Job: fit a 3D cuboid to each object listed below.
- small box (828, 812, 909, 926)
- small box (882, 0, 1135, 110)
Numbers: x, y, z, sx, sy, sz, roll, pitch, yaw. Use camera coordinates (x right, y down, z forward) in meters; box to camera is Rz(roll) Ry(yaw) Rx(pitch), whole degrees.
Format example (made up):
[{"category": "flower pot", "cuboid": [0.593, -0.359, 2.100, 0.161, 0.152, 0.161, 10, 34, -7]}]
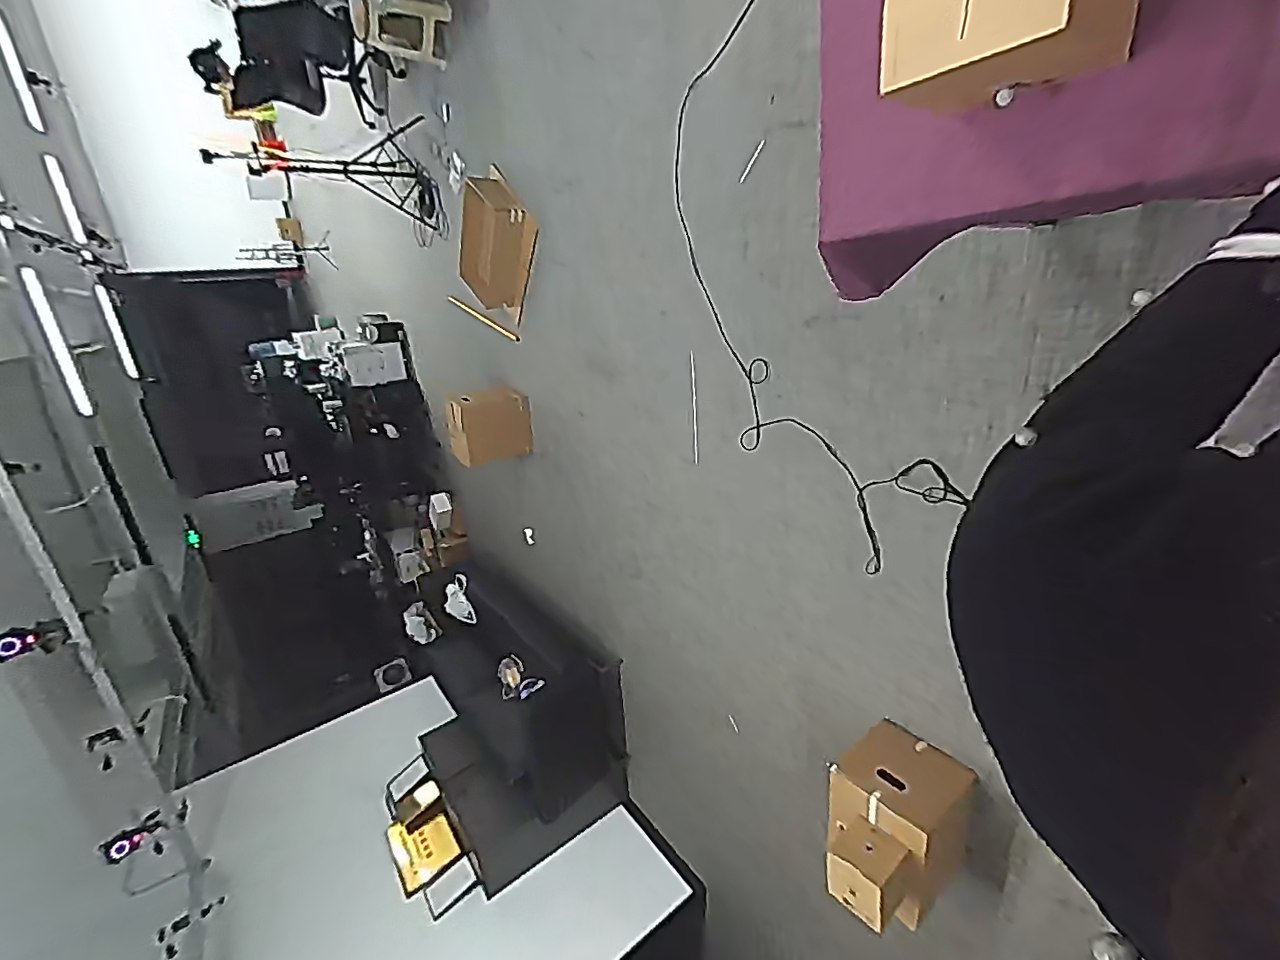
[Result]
[{"category": "small box", "cuboid": [0.677, 1.139, 1.599, 0.168, 0.176, 0.179, 14, 116, 50]}, {"category": "small box", "cuboid": [0.364, -0.492, 0.527, 0.168, 0.176, 0.179, 20, 122, 51]}]
